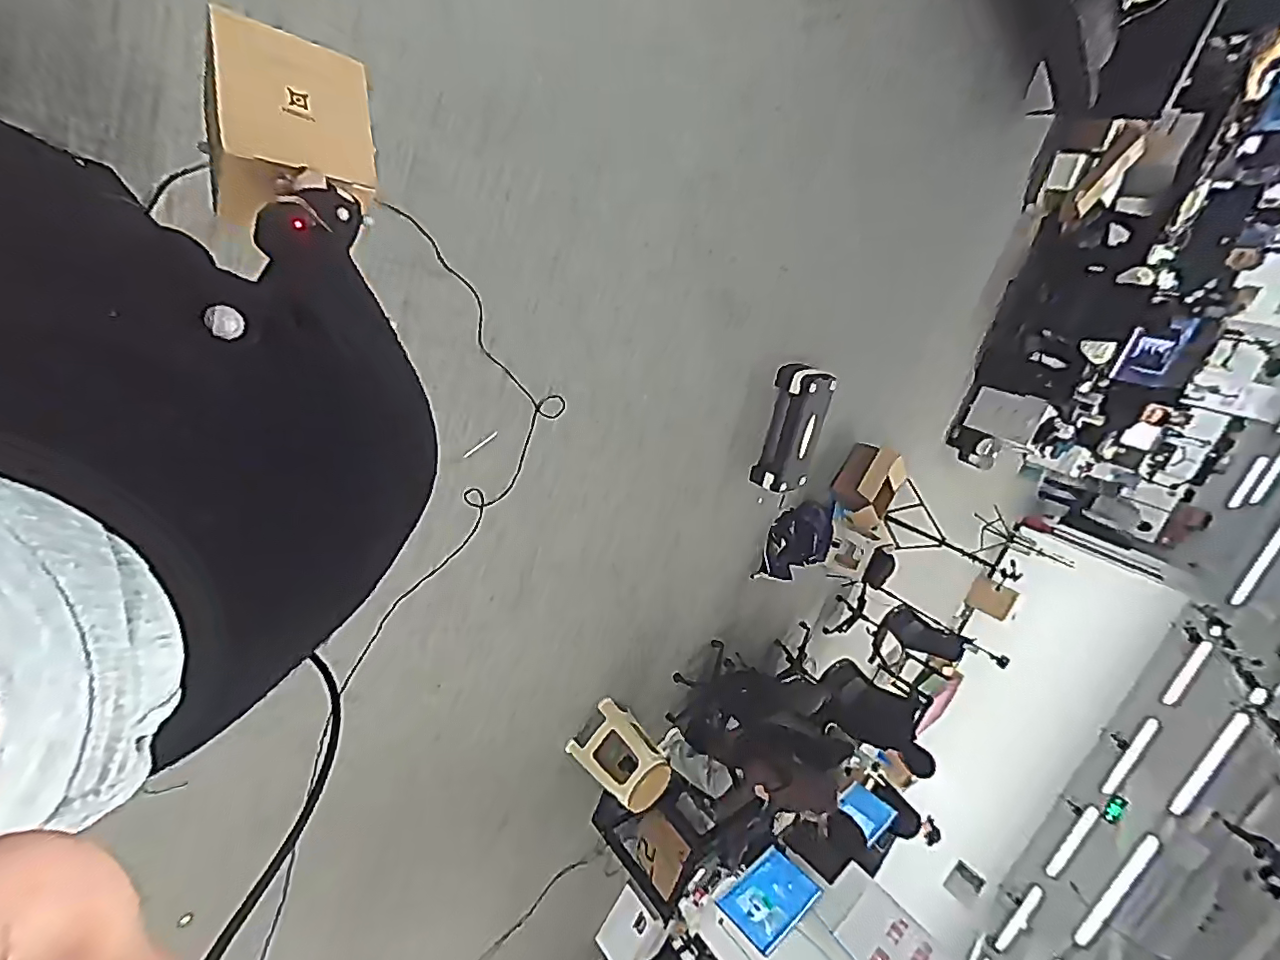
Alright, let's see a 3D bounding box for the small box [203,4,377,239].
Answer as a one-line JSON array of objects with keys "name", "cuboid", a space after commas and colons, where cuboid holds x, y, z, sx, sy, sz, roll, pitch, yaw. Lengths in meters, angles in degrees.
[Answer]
[{"name": "small box", "cuboid": [-0.466, -0.448, 0.717, 0.168, 0.176, 0.179, -6, 88, -42]}]
